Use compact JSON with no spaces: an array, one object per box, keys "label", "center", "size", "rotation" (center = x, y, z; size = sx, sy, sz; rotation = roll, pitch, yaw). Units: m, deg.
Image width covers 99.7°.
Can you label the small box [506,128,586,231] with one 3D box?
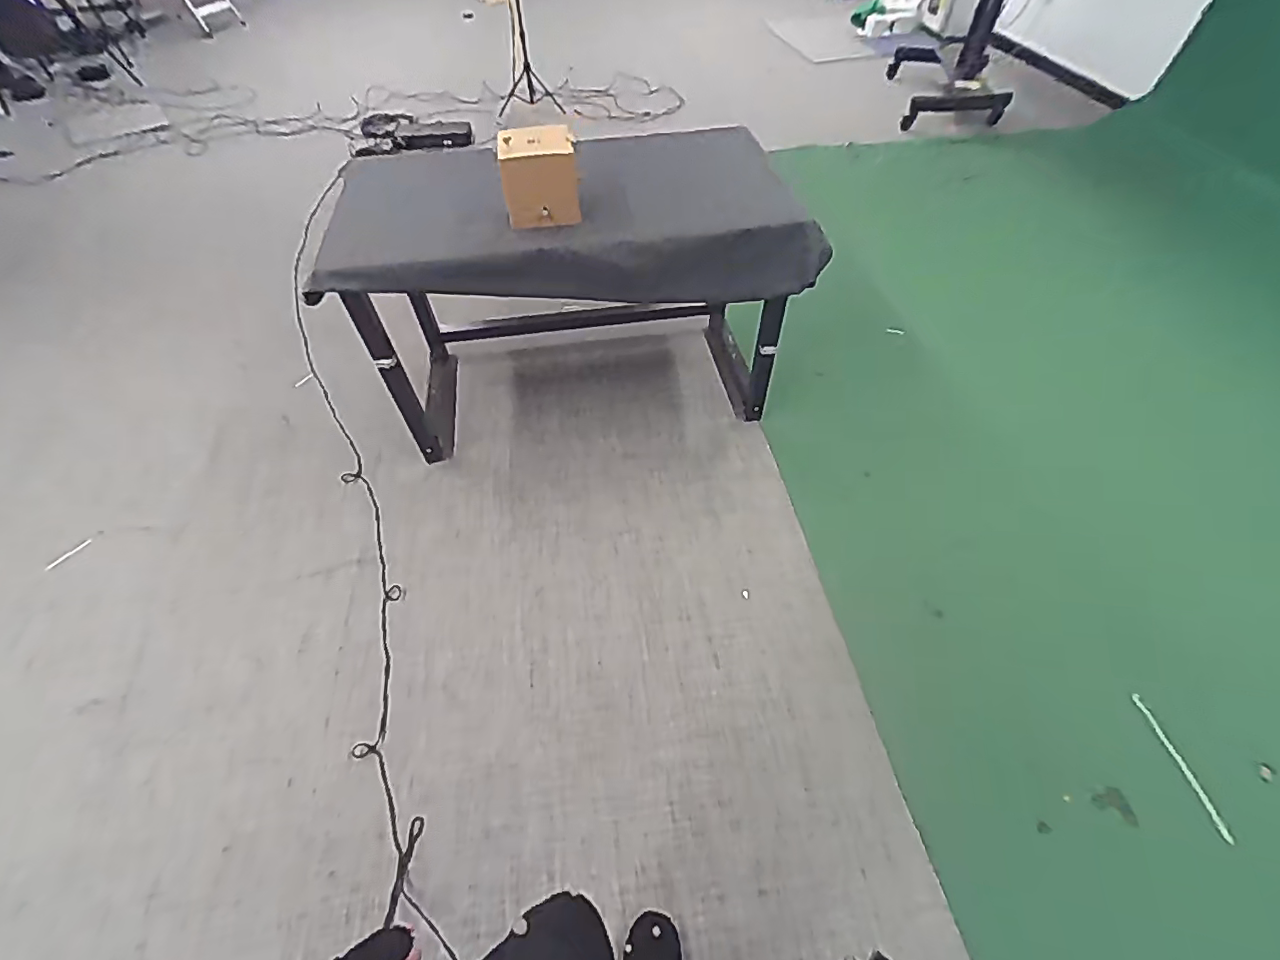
[{"label":"small box","center":[-0.228,-0.742,1.340],"size":[0.179,0.176,0.168],"rotation":[-7,52,-4]}]
